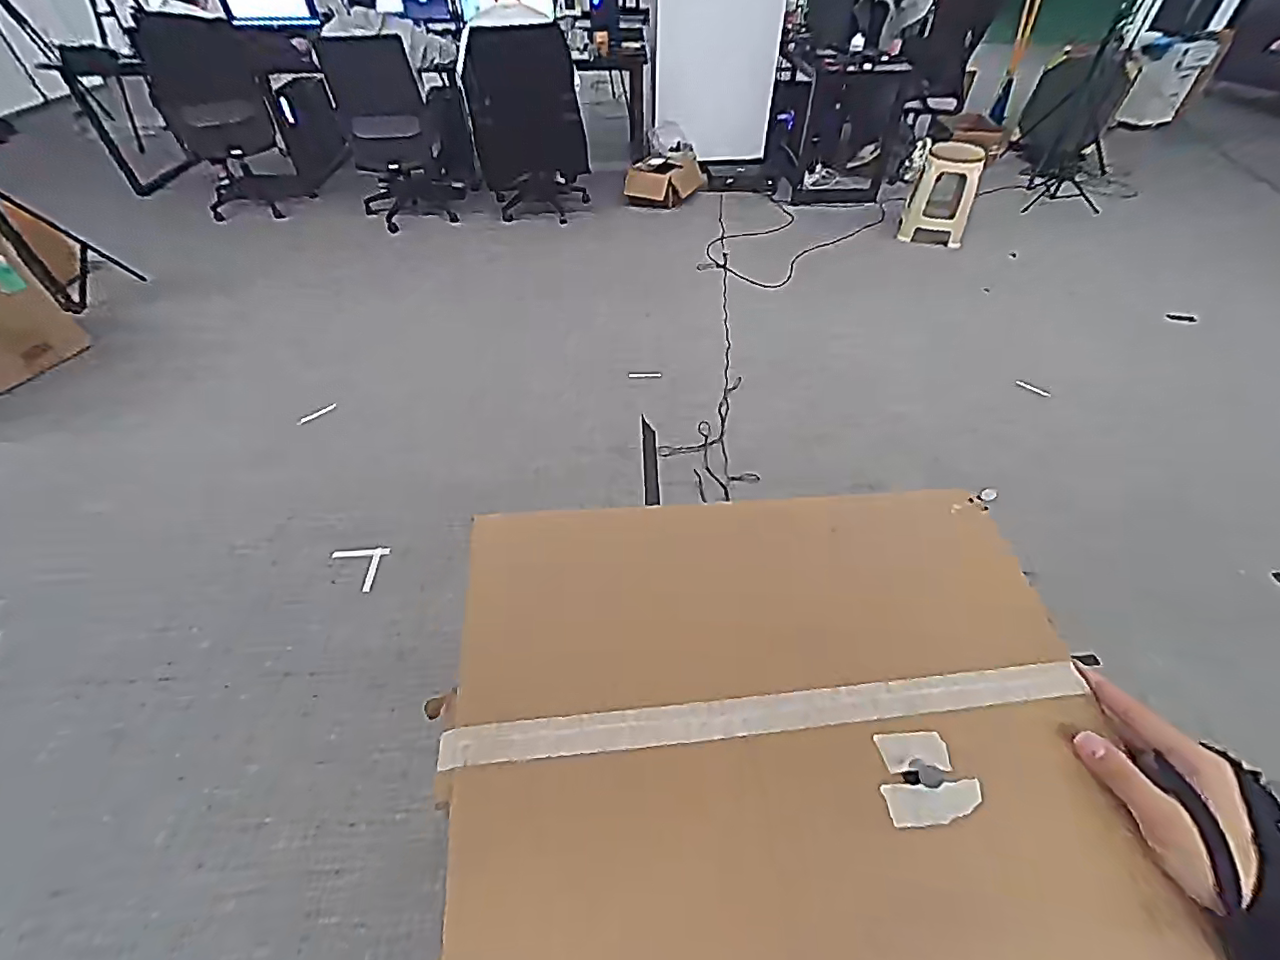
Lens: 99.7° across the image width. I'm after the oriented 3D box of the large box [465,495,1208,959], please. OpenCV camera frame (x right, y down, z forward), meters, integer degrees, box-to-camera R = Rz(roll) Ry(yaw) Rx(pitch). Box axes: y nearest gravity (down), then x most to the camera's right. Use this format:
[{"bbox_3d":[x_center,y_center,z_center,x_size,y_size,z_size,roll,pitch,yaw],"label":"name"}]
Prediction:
[{"bbox_3d":[0.082,0.235,0.469,0.408,0.320,0.320,-3,55,-8],"label":"large box"}]
